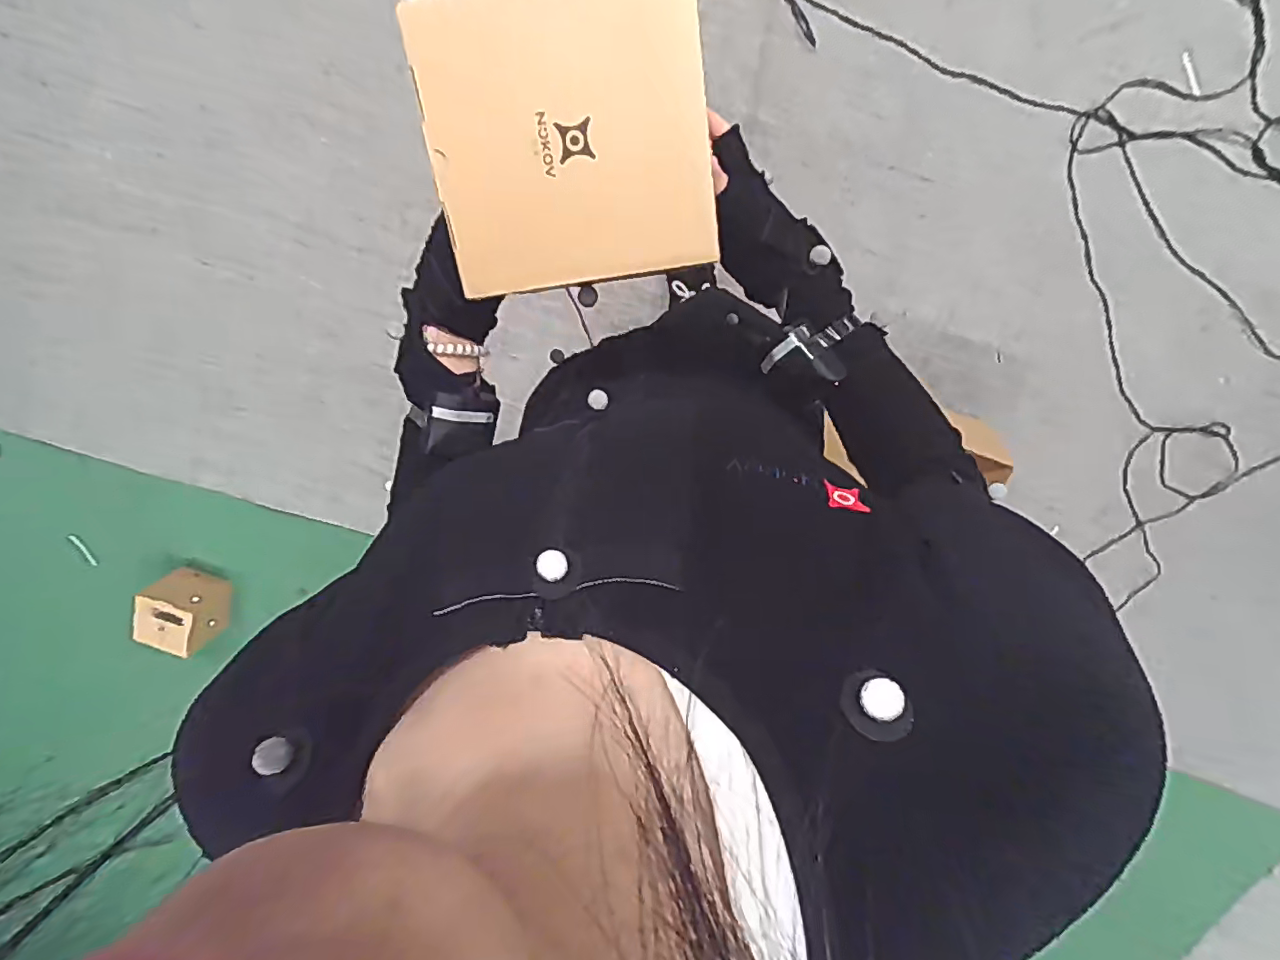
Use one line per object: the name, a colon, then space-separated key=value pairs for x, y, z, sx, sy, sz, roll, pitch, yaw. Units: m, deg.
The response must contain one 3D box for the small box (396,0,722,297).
small box: x=-0.041 y=-0.237 z=0.402 sx=0.179 sy=0.176 sz=0.168 roll=-7 pitch=111 yaw=5
